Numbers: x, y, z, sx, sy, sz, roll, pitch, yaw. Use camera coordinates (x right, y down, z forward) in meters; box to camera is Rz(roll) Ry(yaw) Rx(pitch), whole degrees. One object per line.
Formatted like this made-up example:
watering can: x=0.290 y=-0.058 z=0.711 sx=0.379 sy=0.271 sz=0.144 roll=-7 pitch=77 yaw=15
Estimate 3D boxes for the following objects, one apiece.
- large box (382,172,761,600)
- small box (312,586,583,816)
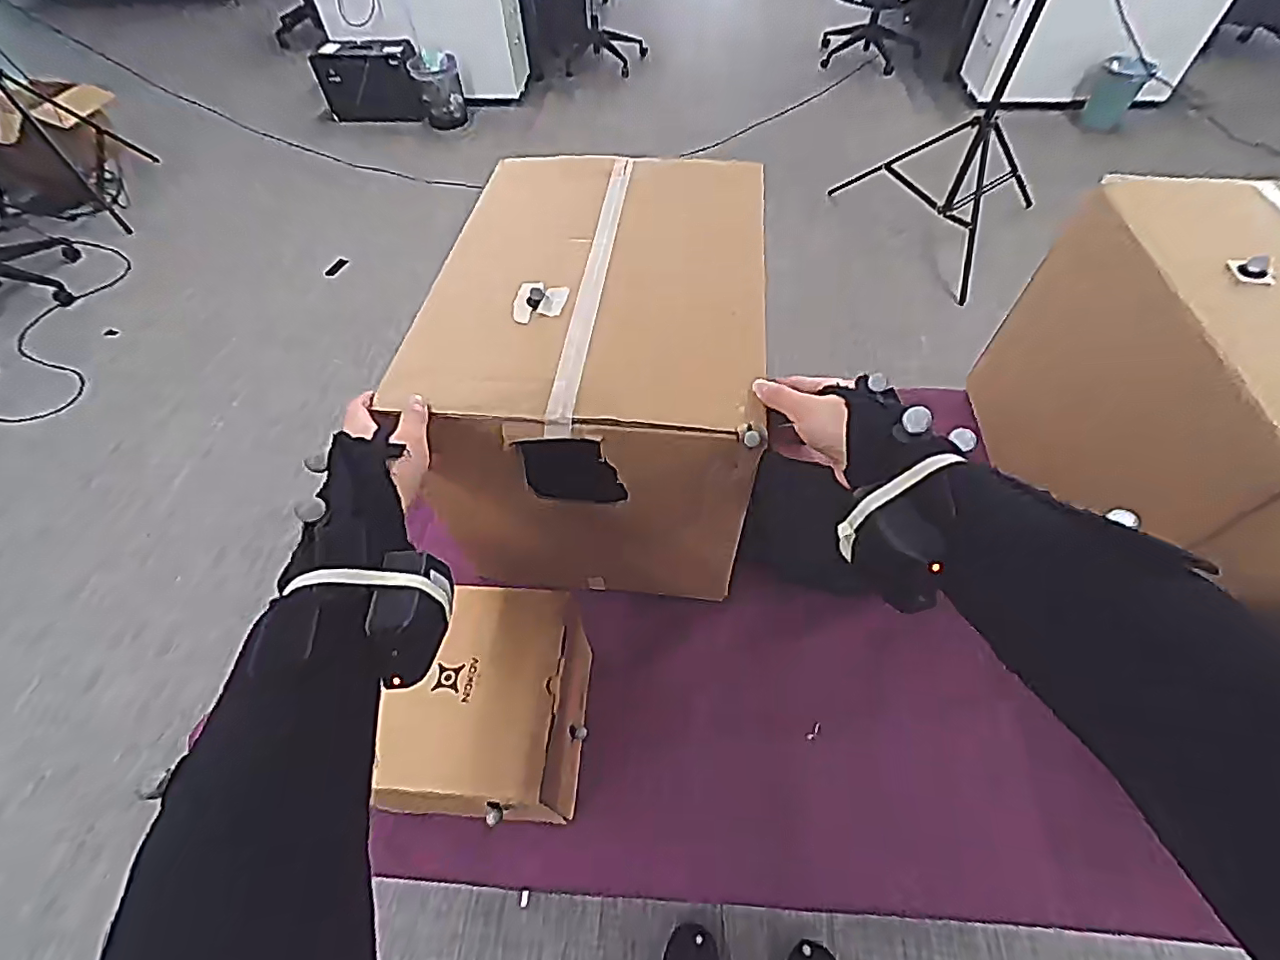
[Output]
large box: x=-0.036 y=-0.109 z=0.653 sx=0.320 sy=0.320 sz=0.408 roll=3 pitch=57 yaw=6
small box: x=-0.156 y=0.214 z=0.513 sx=0.179 sy=0.176 sz=0.168 roll=2 pitch=54 yaw=2
